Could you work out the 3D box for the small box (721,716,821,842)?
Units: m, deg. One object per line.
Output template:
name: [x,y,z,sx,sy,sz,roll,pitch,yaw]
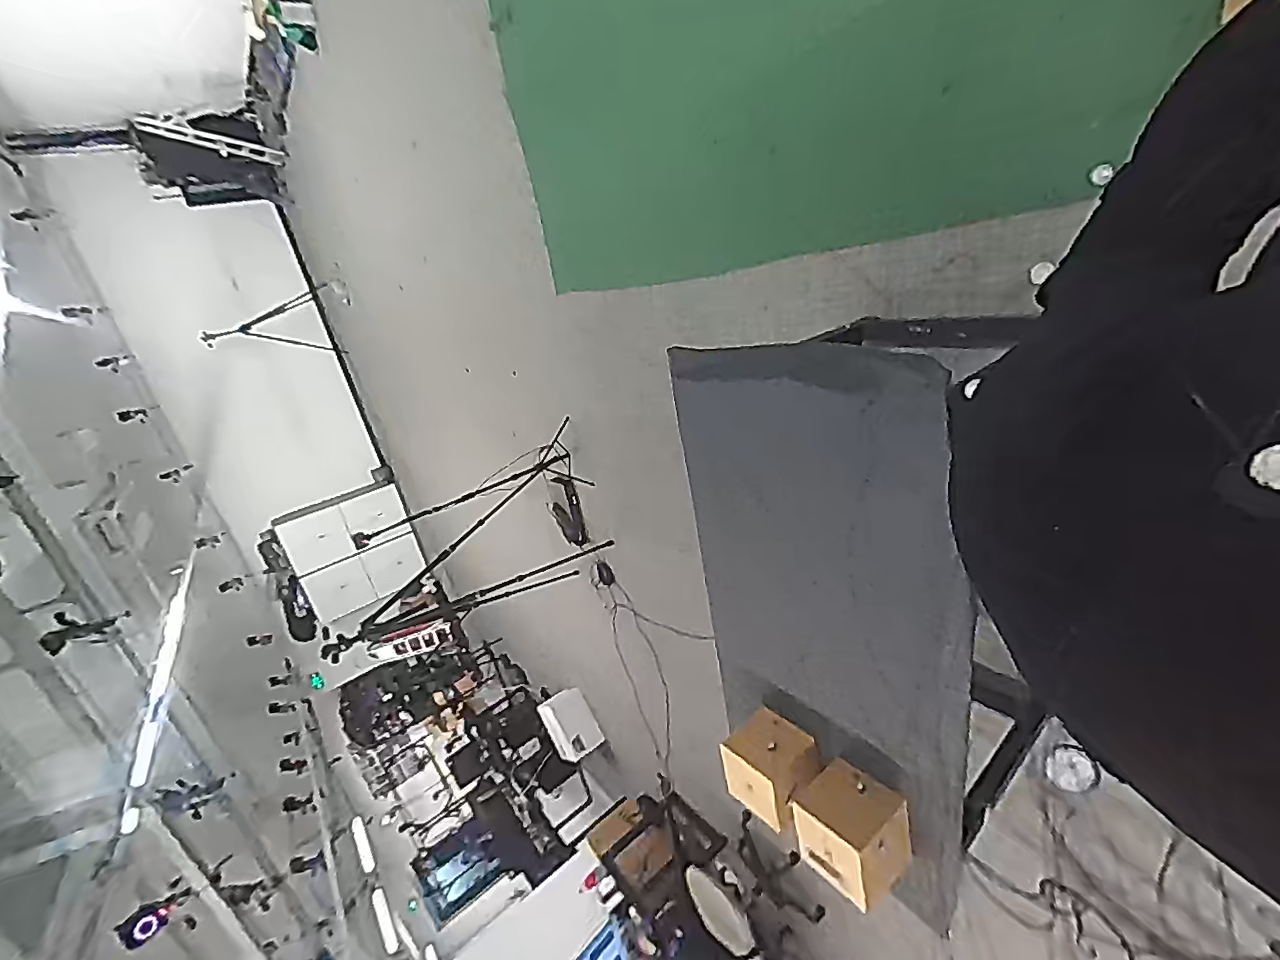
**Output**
small box: [0.326,0.725,1.334,0.168,0.176,0.179,15,123,52]
